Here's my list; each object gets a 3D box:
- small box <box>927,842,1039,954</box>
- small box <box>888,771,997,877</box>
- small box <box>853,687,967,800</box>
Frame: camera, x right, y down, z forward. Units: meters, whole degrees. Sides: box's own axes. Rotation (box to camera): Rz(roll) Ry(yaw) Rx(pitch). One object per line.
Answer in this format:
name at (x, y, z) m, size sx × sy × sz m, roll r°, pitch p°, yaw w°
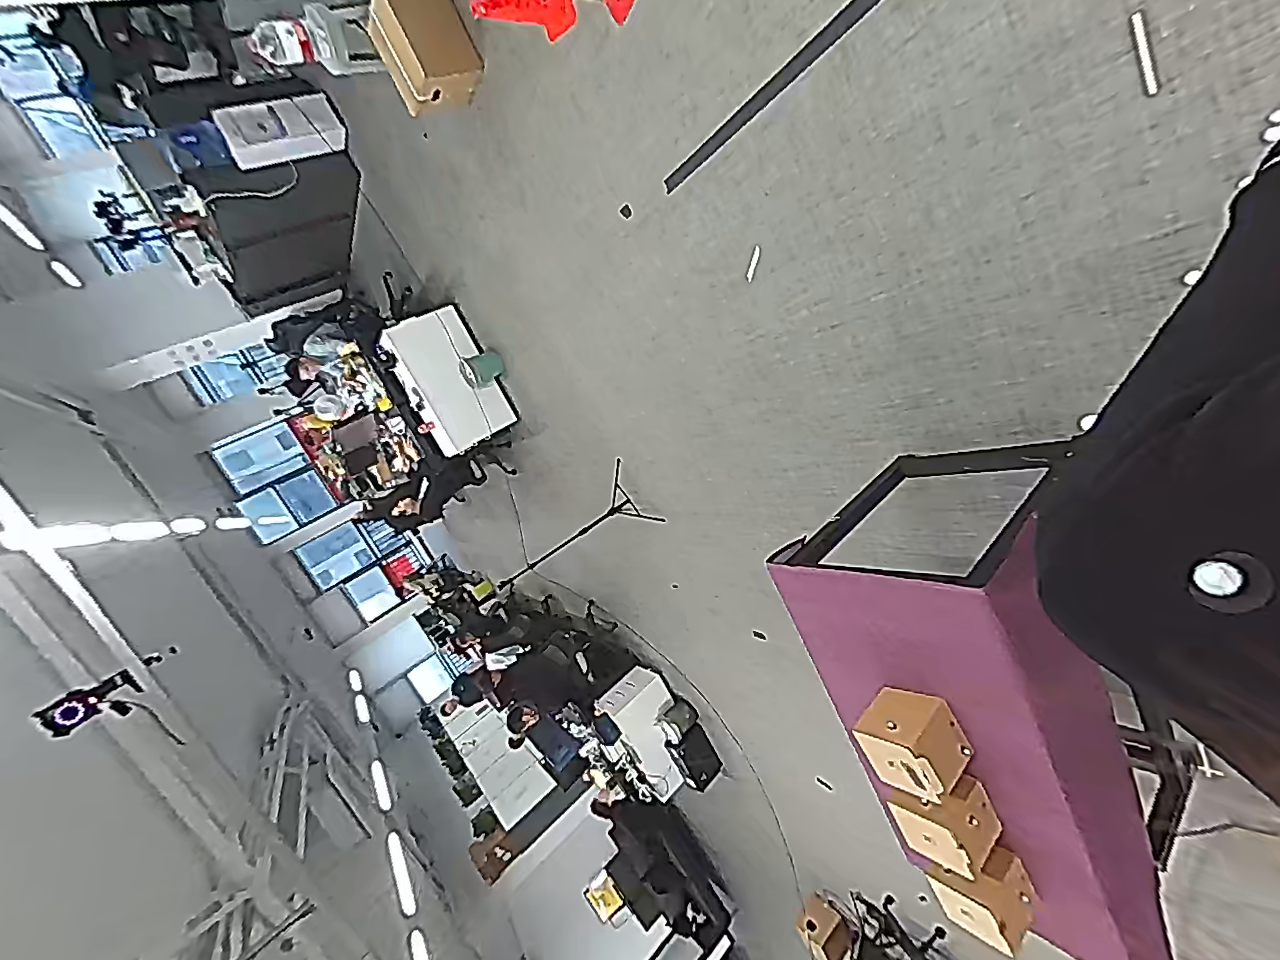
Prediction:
small box at (0.916, 1.082, 1.444) m, size 0.168 × 0.176 × 0.179 m, roll 60°, pitch 152°, yaw -9°
small box at (0.795, 0.865, 1.409) m, size 0.179 × 0.176 × 0.168 m, roll -11°, pitch 110°, yaw 60°
small box at (0.681, 0.646, 1.352) m, size 0.168 × 0.176 × 0.179 m, roll 59°, pitch 153°, yaw -5°
